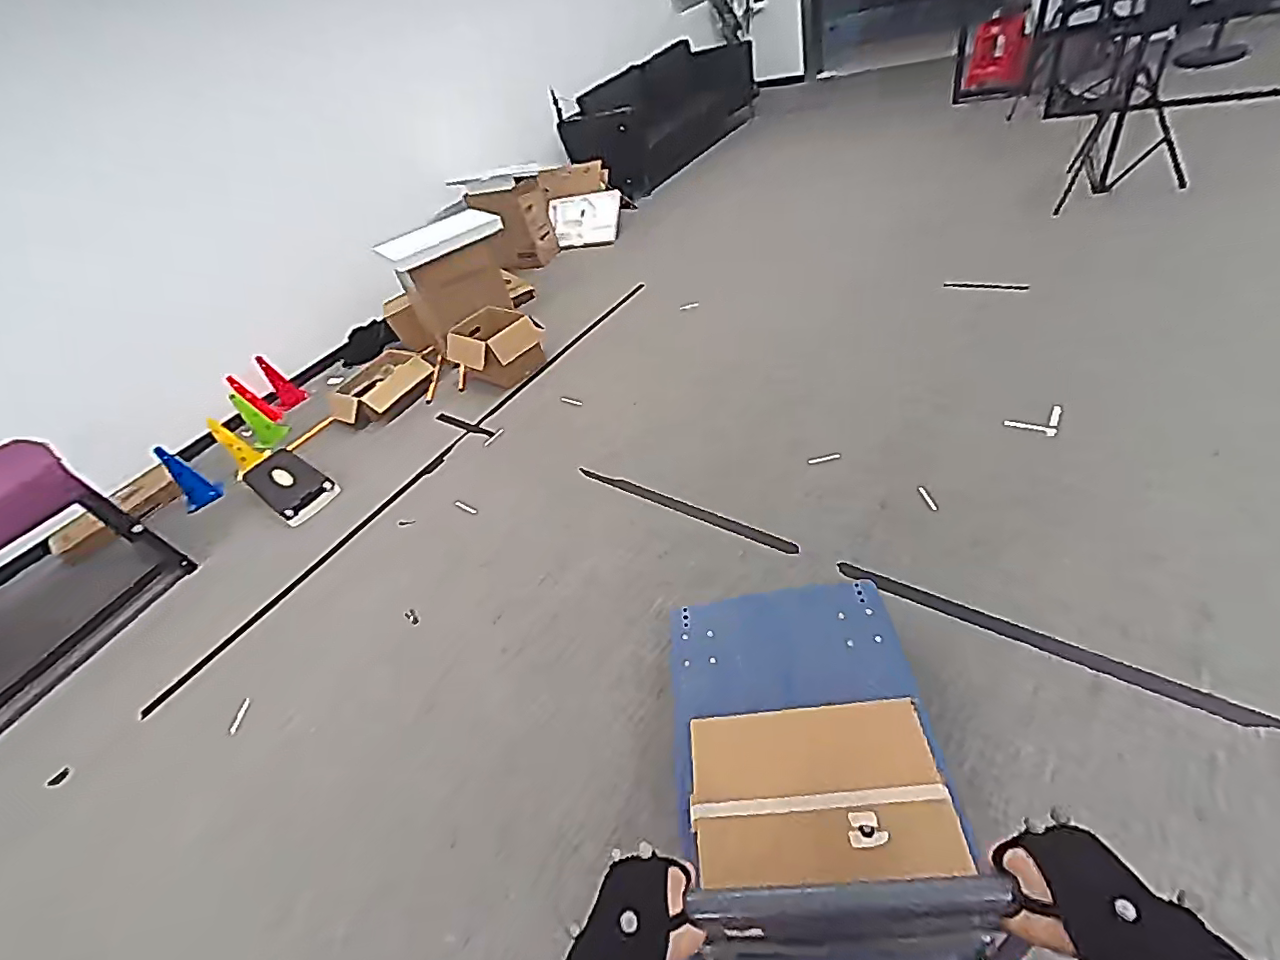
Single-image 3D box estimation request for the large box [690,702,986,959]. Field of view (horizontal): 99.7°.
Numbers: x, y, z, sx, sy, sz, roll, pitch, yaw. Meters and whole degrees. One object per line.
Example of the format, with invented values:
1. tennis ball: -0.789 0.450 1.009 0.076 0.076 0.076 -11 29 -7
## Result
1. large box: 0.322 0.644 0.985 0.408 0.320 0.320 -10 43 9
